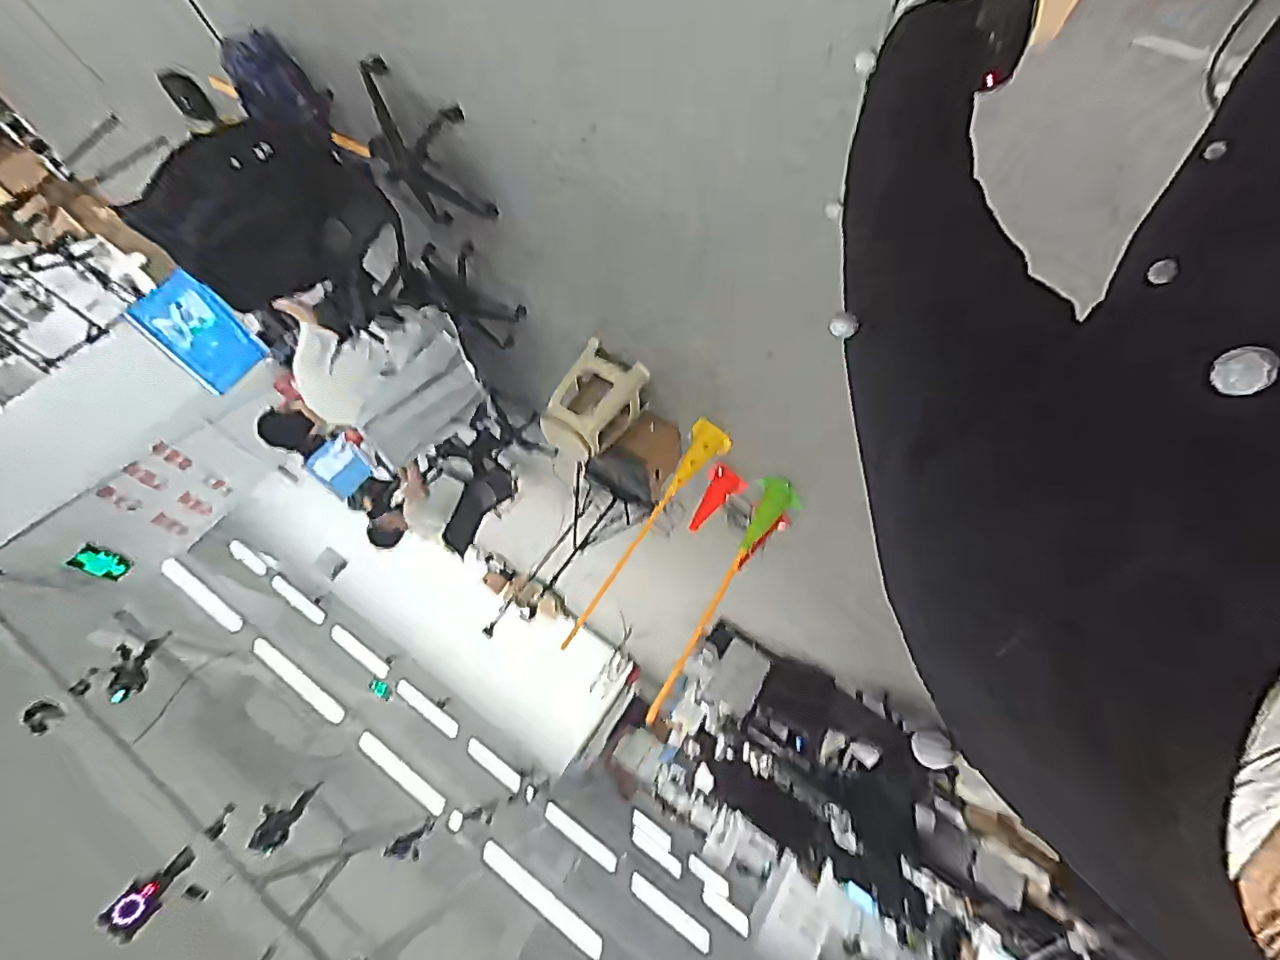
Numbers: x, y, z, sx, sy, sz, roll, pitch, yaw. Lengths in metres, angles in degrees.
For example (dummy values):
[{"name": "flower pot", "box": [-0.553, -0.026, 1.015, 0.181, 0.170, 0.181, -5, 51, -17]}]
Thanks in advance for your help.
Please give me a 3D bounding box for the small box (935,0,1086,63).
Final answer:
[{"name": "small box", "box": [0.531, -0.704, 0.702, 0.168, 0.176, 0.179, 32, 158, 12]}]
